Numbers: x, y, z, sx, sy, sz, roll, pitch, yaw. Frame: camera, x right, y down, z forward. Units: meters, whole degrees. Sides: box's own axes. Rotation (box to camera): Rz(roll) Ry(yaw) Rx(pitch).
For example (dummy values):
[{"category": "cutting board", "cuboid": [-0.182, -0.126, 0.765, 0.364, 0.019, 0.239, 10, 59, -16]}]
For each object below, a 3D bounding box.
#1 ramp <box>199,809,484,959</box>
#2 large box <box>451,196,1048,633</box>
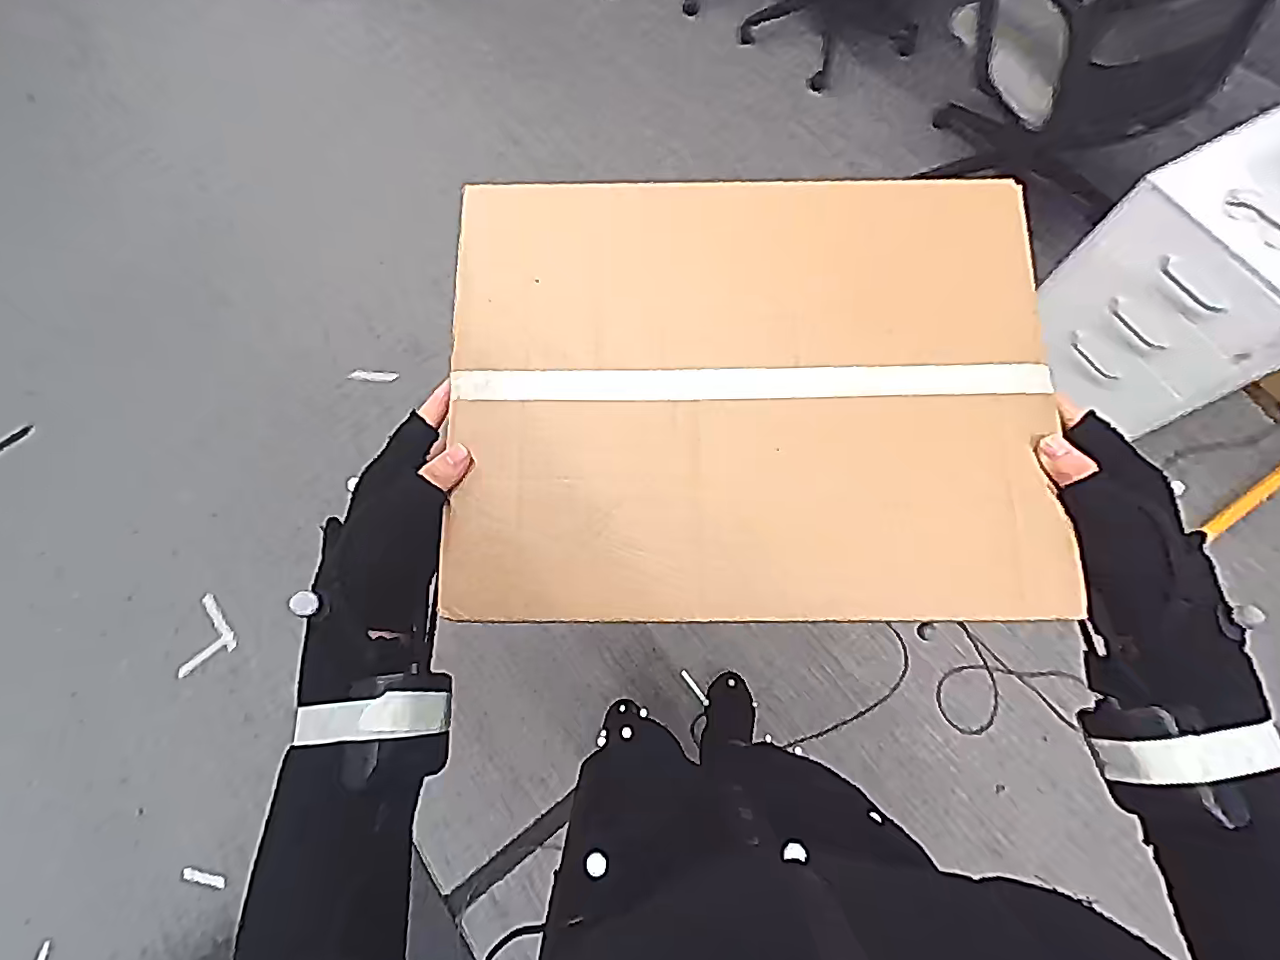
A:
[{"category": "ramp", "cuboid": [-0.812, 1.209, 1.053, 0.991, 0.206, 0.509, -39, 72, -10]}, {"category": "large box", "cuboid": [0.071, -0.031, 0.529, 0.408, 0.320, 0.320, -2, 79, 1]}]
